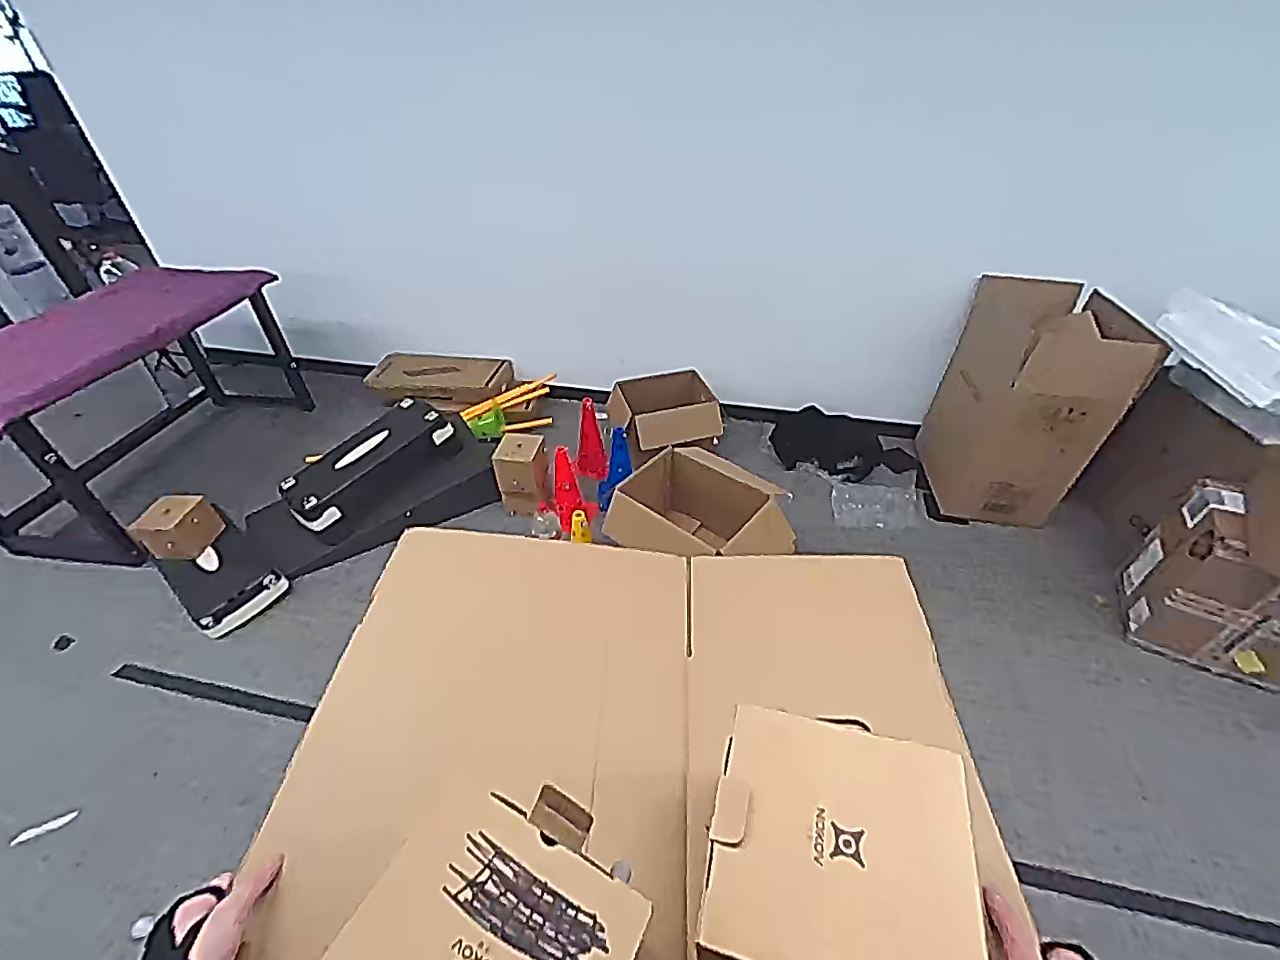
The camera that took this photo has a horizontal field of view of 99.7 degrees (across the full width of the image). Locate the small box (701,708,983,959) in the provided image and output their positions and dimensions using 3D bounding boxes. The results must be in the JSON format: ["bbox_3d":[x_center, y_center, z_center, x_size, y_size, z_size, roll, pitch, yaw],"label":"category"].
[{"bbox_3d":[0.154,0.320,0.447,0.179,0.176,0.168,7,45,16],"label":"small box"}]
